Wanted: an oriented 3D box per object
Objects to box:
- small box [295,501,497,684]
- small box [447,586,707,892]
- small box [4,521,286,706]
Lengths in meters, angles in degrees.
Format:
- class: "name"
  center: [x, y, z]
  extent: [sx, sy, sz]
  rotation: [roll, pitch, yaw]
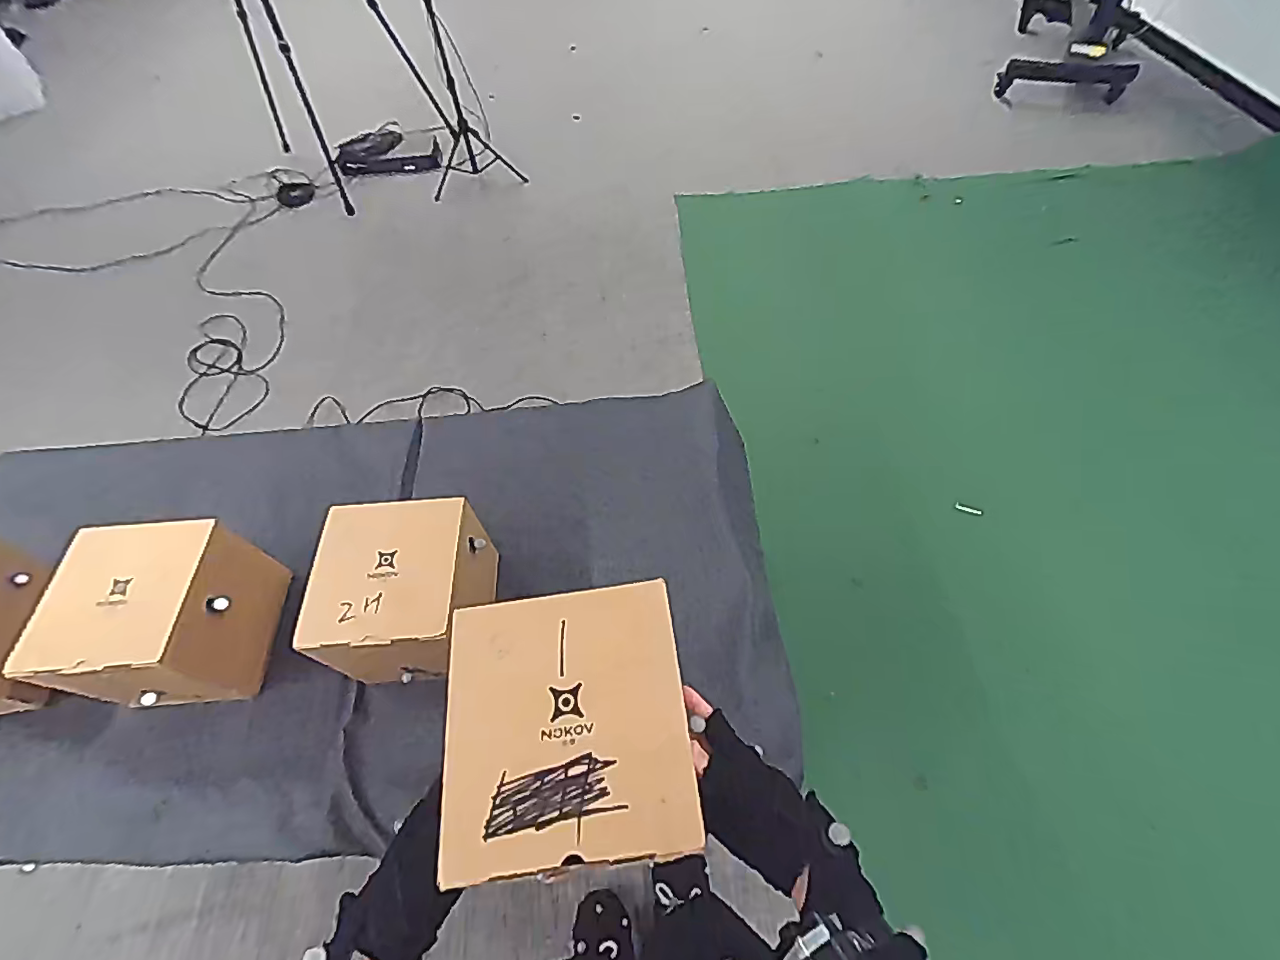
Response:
- class: "small box"
  center: [-0.284, 0.144, 0.679]
  extent: [0.168, 0.176, 0.179]
  rotation: [-4, 58, -1]
- class: "small box"
  center: [-0.041, 0.204, 0.437]
  extent: [0.168, 0.176, 0.179]
  rotation: [-7, 59, -1]
- class: "small box"
  center: [-0.582, 0.169, 0.672]
  extent: [0.168, 0.176, 0.179]
  rotation: [-4, 58, -2]
